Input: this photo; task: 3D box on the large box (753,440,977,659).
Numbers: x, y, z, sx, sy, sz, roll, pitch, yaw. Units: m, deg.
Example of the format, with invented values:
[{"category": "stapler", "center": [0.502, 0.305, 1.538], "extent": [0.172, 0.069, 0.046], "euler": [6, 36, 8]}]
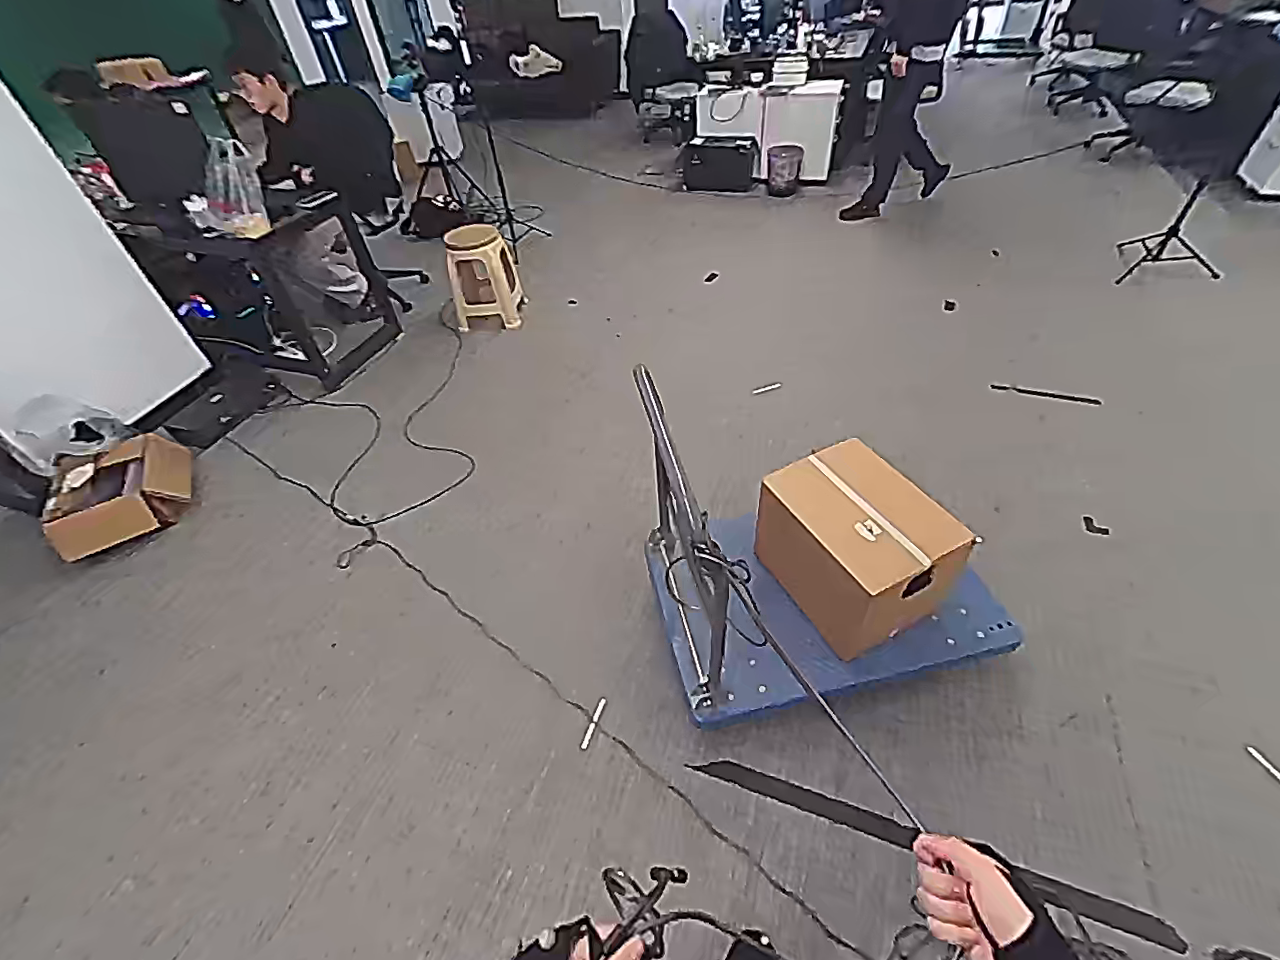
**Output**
[{"category": "large box", "center": [0.542, 0.169, 1.401], "extent": [0.320, 0.320, 0.408], "euler": [-23, 49, -15]}]
